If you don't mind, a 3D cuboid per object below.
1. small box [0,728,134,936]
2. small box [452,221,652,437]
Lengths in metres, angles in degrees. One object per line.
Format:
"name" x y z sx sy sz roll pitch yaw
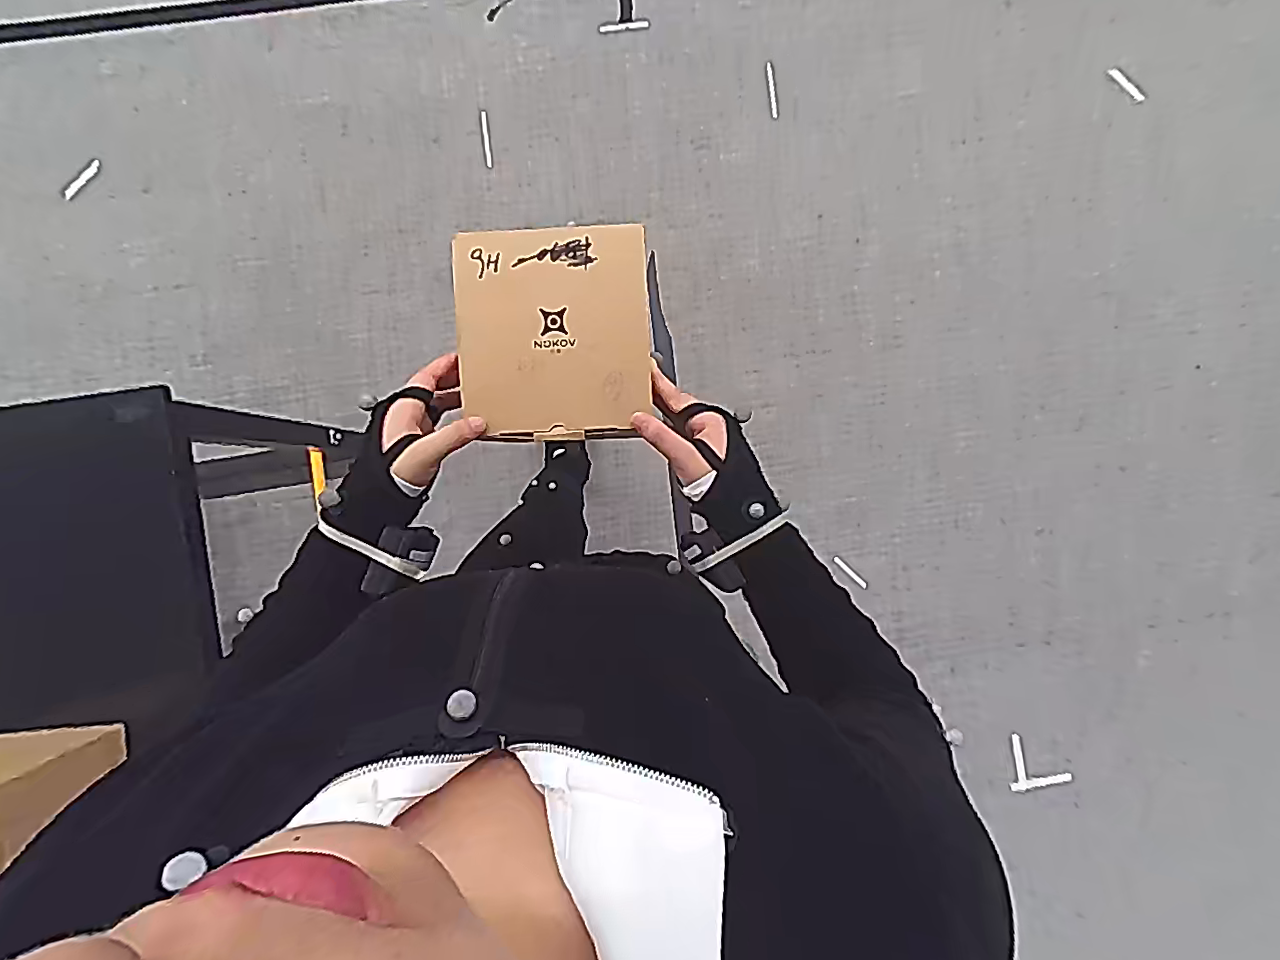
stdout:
"small box" -0.779 0.422 0.655 0.179 0.176 0.168 -4 90 -1
"small box" -0.073 -0.136 0.542 0.168 0.176 0.179 -3 94 1
